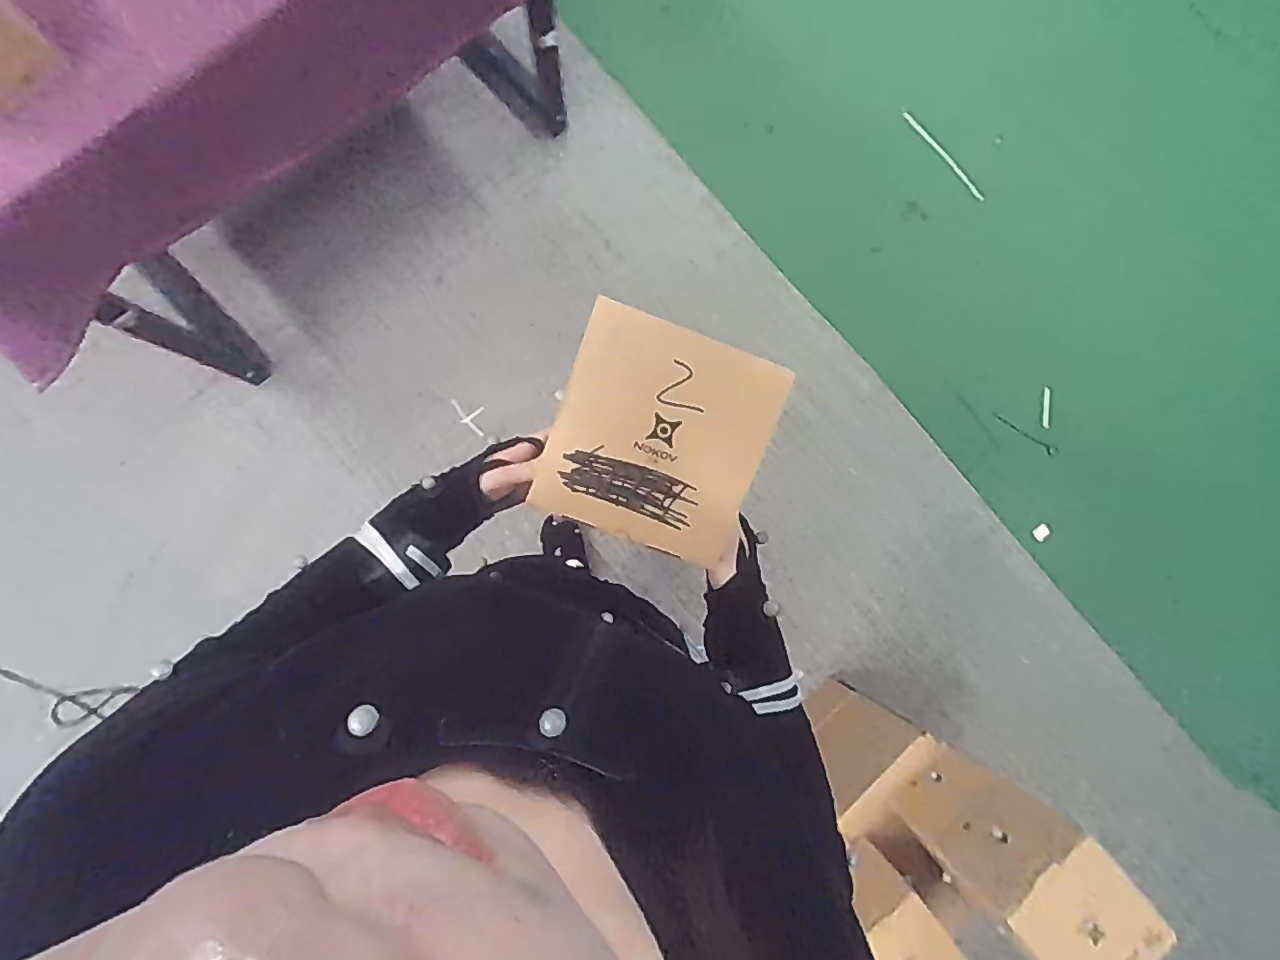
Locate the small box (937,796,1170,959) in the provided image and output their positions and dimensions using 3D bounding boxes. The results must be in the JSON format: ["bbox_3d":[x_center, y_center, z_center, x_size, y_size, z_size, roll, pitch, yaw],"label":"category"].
[{"bbox_3d":[0.590,0.608,0.800,0.168,0.176,0.179,-38,86,-5],"label":"small box"}]

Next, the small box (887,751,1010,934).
[{"bbox_3d":[0.587,0.628,0.963,0.168,0.176,0.179,-39,86,-5],"label":"small box"}]

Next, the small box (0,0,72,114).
[{"bbox_3d":[-0.954,-0.636,0.729,0.168,0.176,0.179,-44,87,-6],"label":"small box"}]

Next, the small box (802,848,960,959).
[{"bbox_3d":[0.414,0.787,0.937,0.168,0.176,0.179,-36,88,-7],"label":"small box"}]
